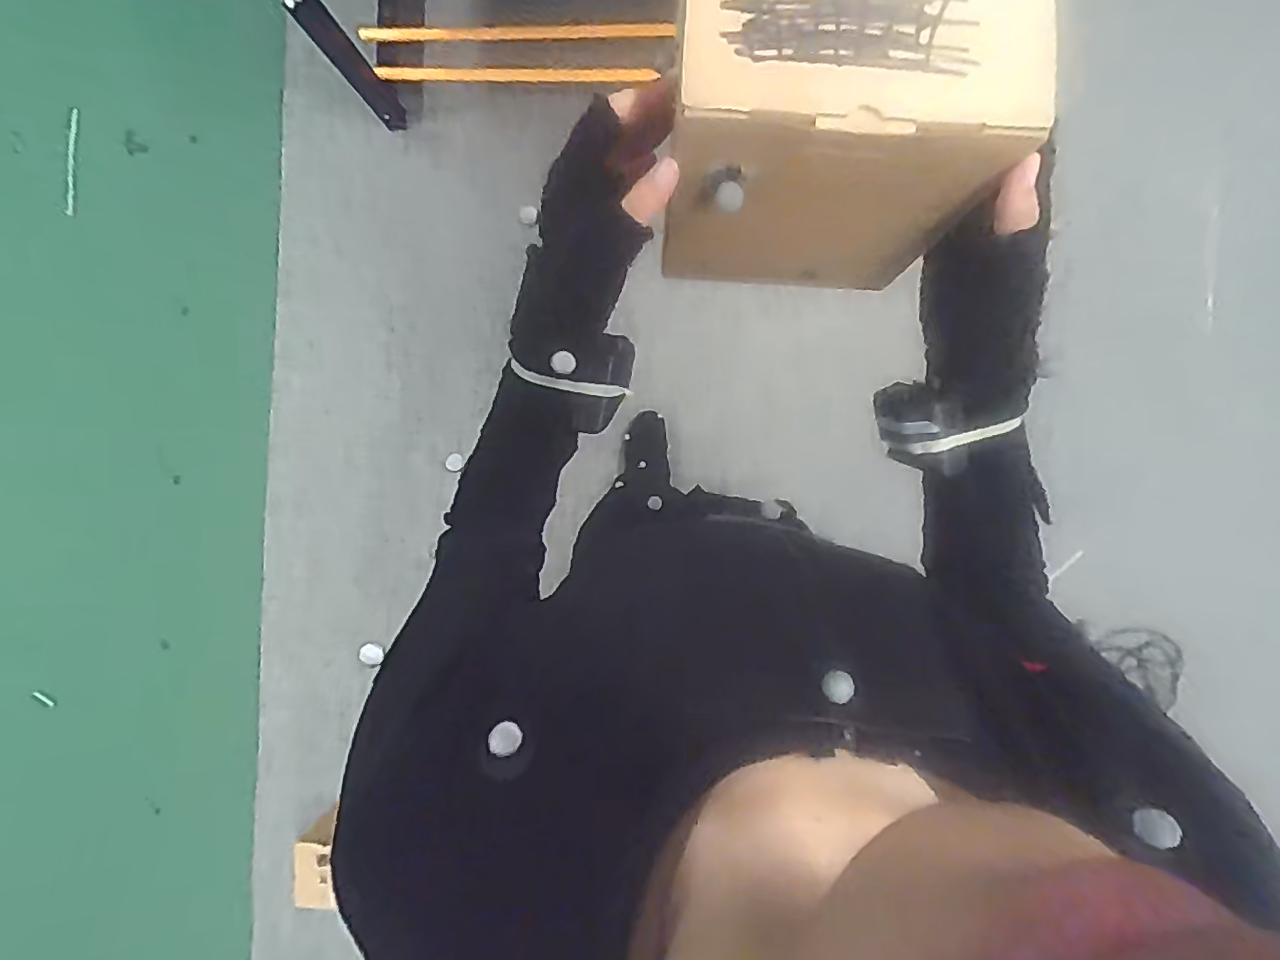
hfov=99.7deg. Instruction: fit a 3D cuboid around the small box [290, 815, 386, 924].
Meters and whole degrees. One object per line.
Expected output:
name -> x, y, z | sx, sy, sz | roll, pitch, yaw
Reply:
small box -> -0.810, 1.045, 1.464 | 0.168, 0.176, 0.179 | 1, 90, 5
